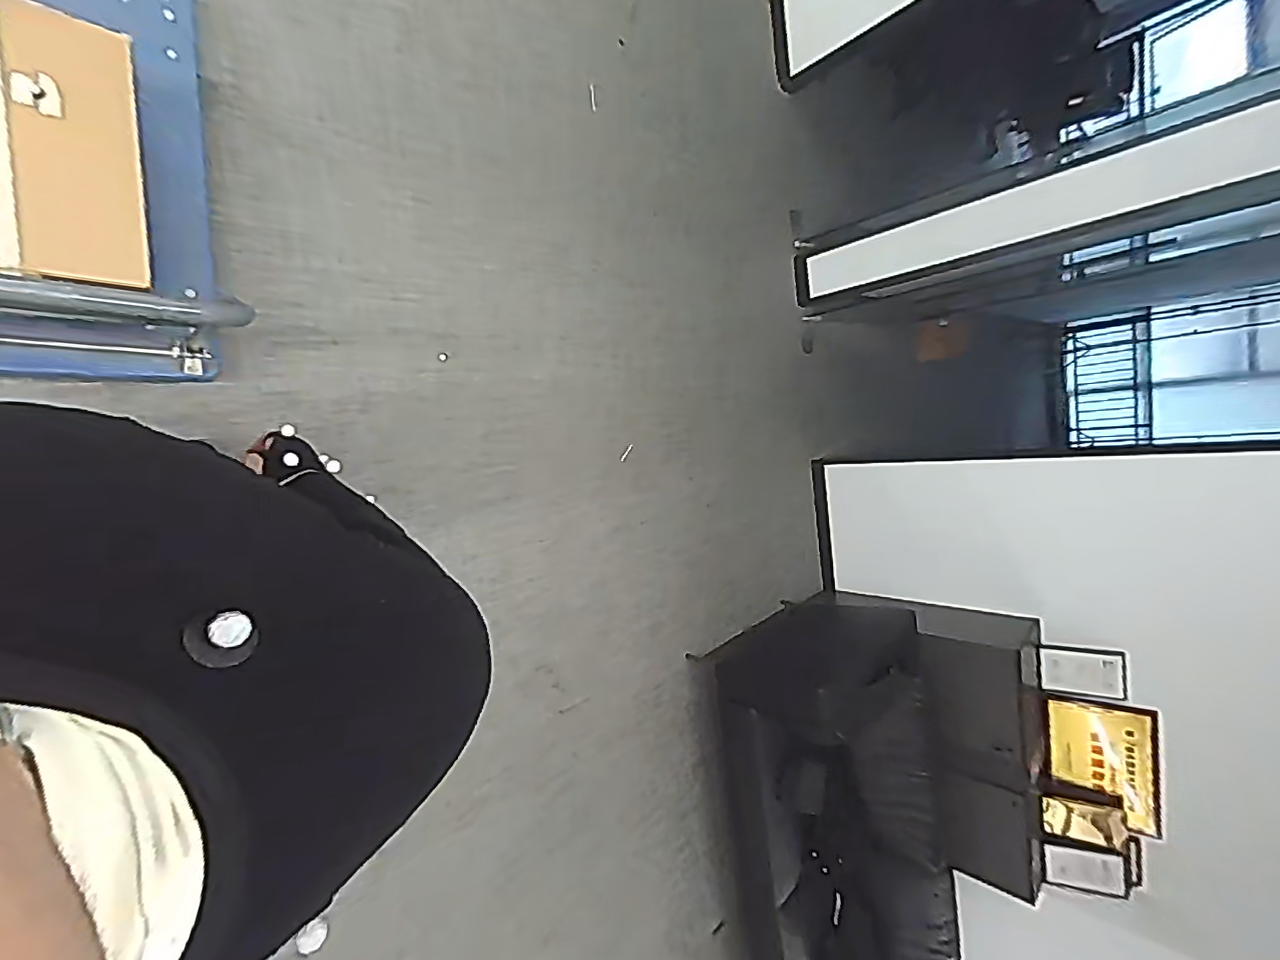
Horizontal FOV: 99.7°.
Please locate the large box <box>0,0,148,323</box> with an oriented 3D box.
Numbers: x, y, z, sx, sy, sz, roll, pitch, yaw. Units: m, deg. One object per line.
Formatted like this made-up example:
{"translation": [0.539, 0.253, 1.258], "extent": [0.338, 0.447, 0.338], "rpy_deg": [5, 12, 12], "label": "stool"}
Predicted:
{"translation": [-1.047, -0.506, 0.895], "extent": [0.320, 0.320, 0.408], "rpy_deg": [-6, 93, -44], "label": "large box"}
